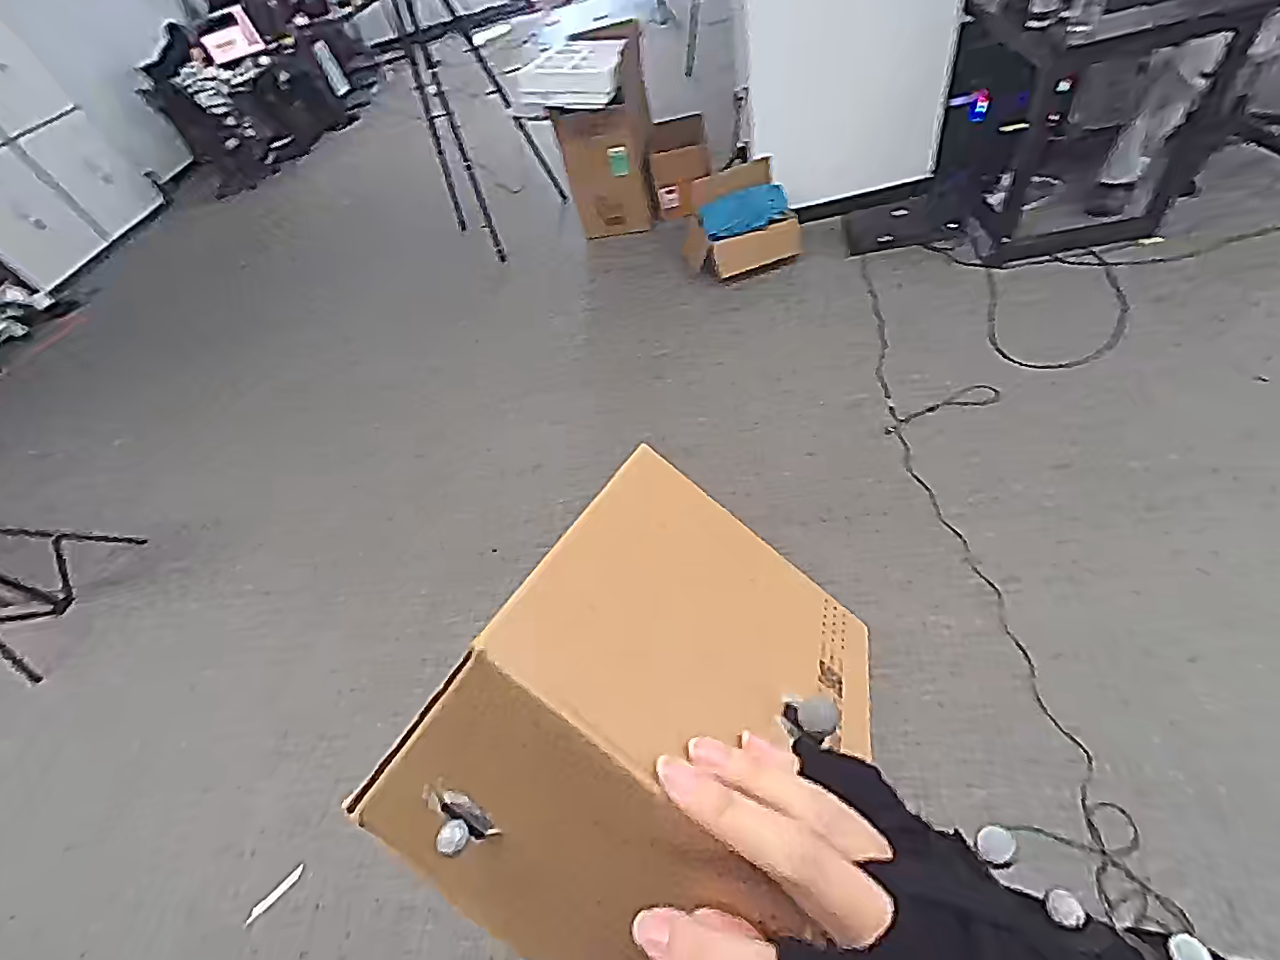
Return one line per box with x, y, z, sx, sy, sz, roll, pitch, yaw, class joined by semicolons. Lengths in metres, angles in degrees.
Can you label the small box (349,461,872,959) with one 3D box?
-0.007;0.129;0.286;0.176;0.179;0.168;39;32;-2;small box
